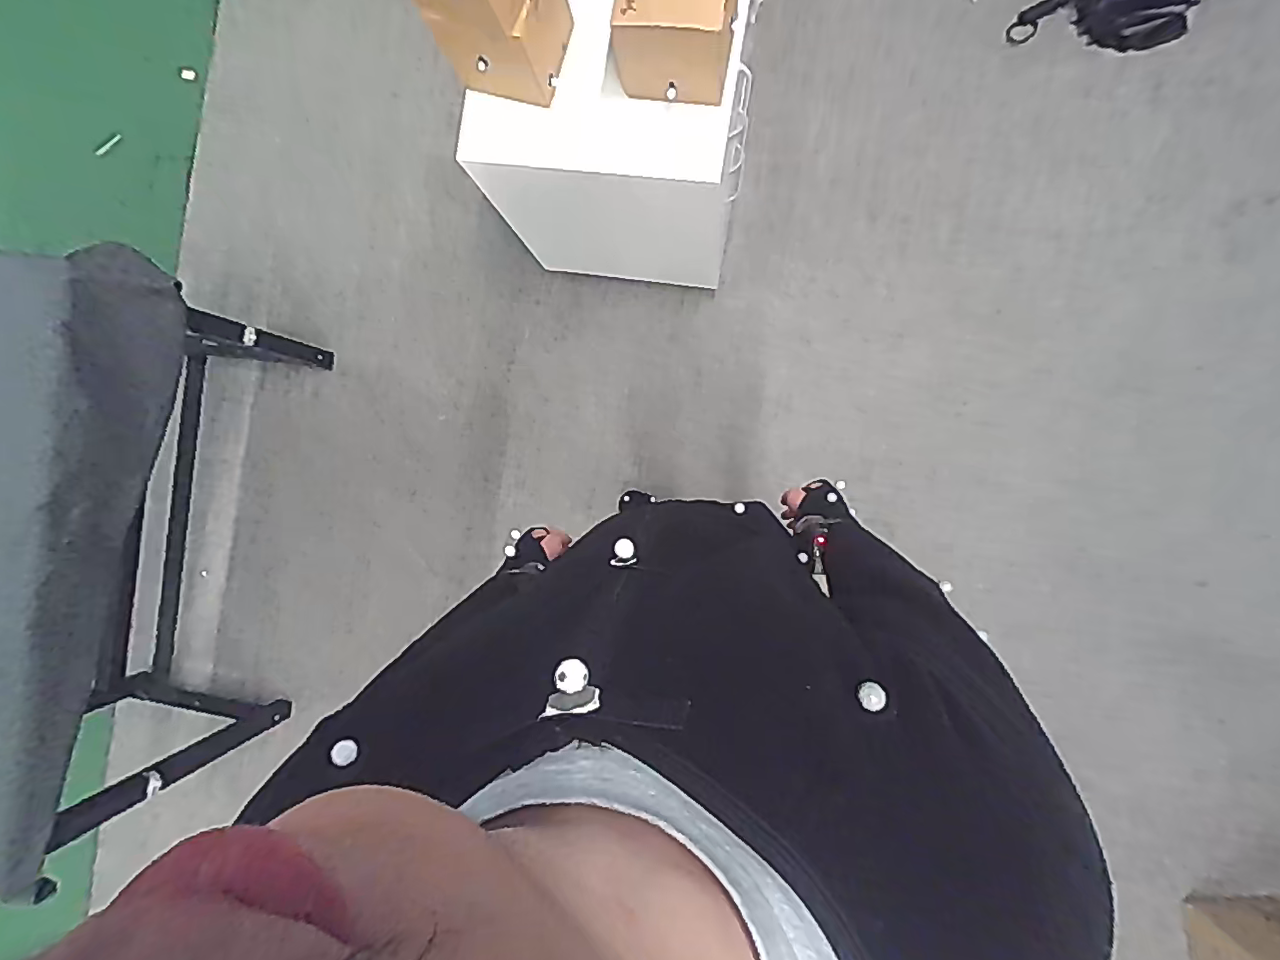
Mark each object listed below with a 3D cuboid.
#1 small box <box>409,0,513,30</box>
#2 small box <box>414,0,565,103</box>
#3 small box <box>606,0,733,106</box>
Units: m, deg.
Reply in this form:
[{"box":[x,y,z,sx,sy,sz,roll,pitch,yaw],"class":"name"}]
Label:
[{"box":[-0.263,-0.788,0.755,0.179,0.176,0.168,24,90,6],"class":"small box"},{"box":[-0.242,-0.784,0.916,0.179,0.176,0.168,17,91,6],"class":"small box"},{"box":[0.056,-0.752,0.884,0.179,0.176,0.168,10,91,6],"class":"small box"}]
